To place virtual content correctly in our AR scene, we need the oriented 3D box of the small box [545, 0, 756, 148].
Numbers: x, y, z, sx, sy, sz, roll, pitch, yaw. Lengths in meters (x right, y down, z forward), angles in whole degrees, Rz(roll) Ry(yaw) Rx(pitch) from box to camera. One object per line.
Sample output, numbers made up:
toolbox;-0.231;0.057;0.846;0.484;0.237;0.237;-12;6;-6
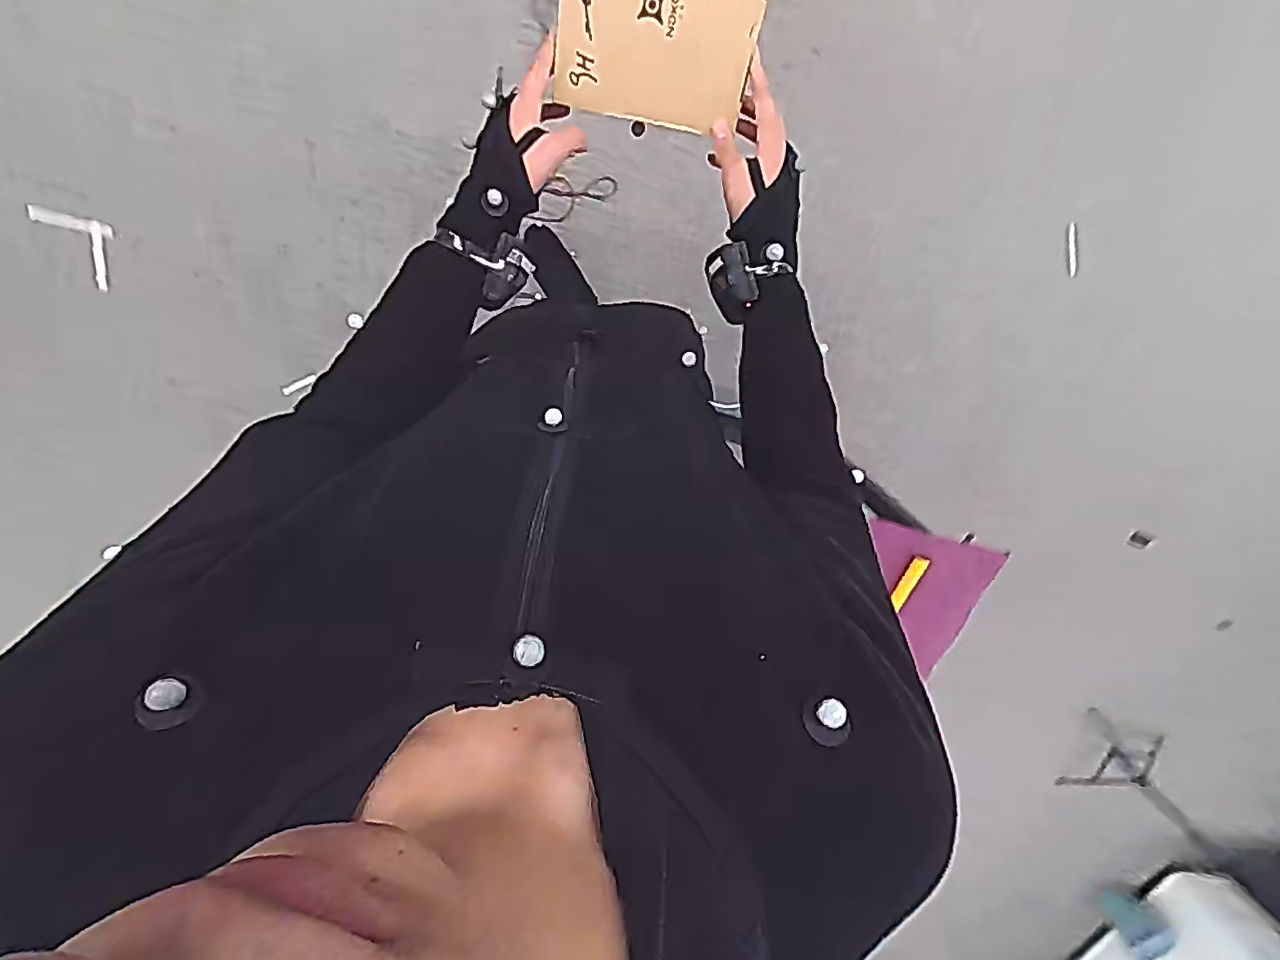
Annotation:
small box;0.006;-0.448;0.534;0.179;0.176;0.168;7;126;-8
